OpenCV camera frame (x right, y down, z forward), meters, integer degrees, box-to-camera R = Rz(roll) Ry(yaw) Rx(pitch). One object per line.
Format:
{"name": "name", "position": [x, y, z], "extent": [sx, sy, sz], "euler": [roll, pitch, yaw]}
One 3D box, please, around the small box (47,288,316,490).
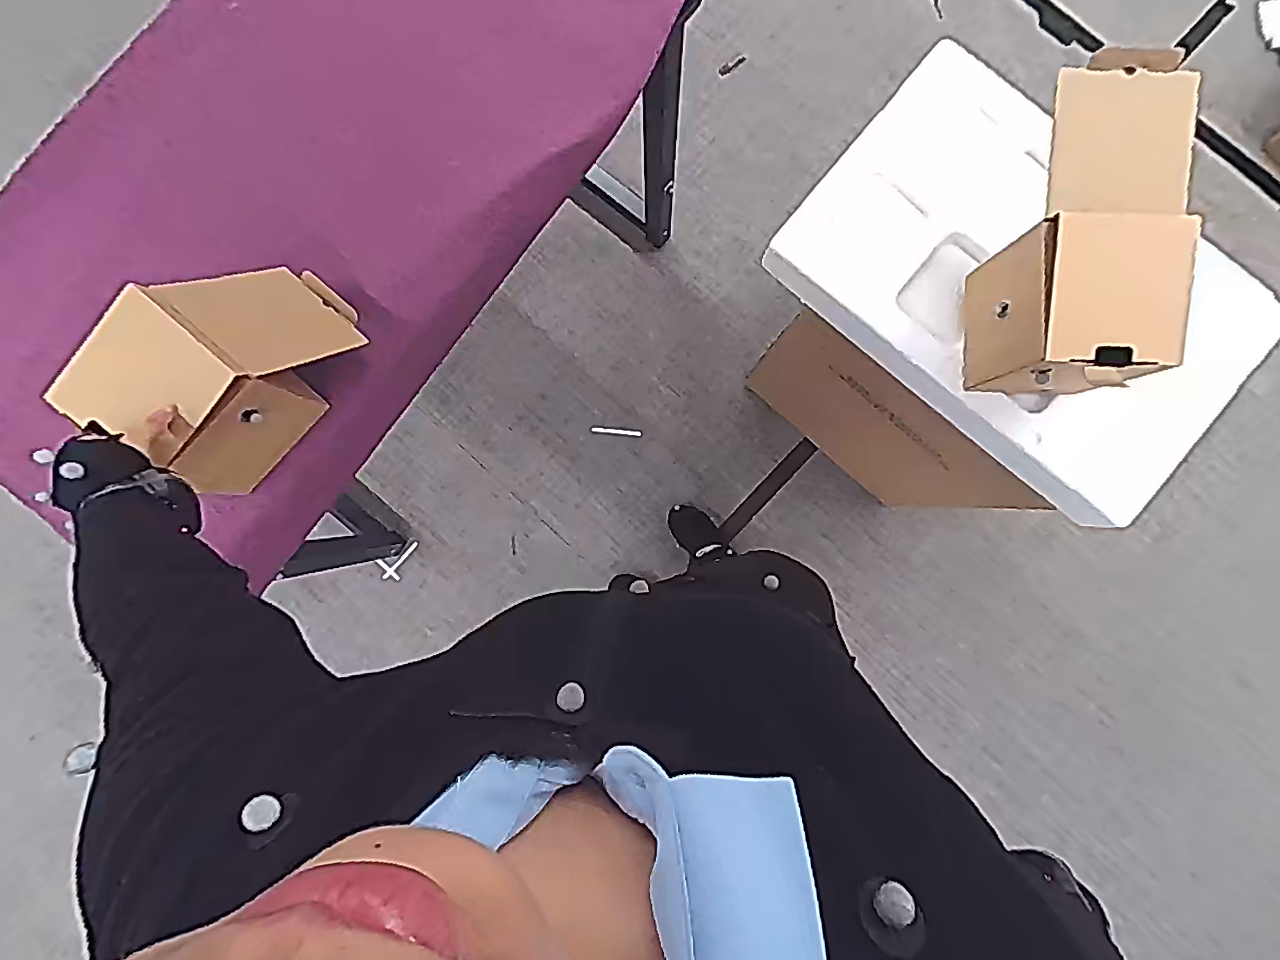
{"name": "small box", "position": [-0.565, -0.104, 0.702], "extent": [0.168, 0.176, 0.179], "euler": [41, 87, 2]}
